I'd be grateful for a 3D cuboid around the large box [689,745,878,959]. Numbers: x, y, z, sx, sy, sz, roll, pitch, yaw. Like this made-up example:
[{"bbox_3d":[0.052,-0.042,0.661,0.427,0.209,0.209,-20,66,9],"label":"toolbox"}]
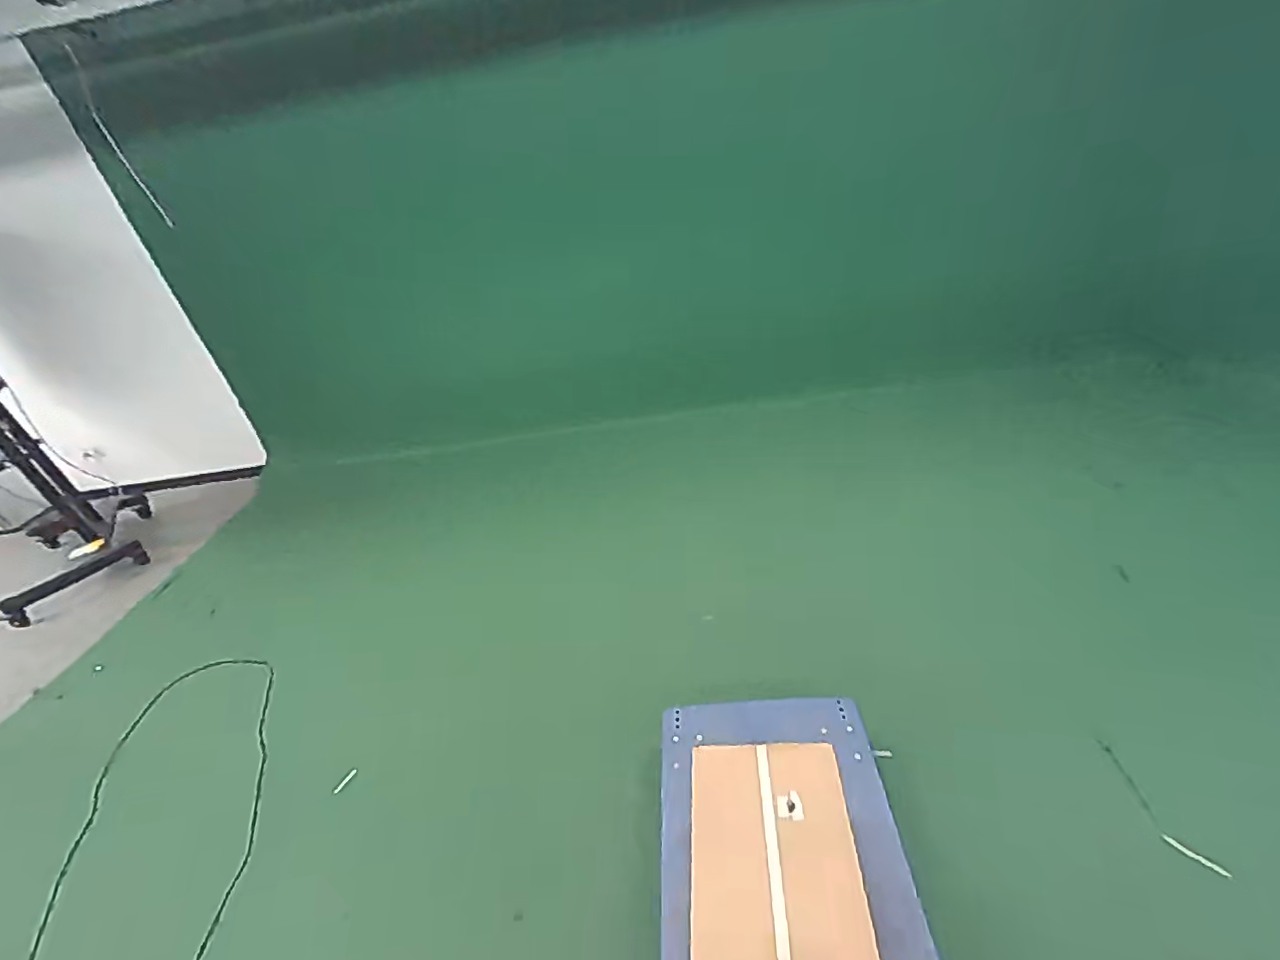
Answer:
[{"bbox_3d":[0.278,0.835,1.129,0.320,0.320,0.408,-5,31,9],"label":"large box"}]
